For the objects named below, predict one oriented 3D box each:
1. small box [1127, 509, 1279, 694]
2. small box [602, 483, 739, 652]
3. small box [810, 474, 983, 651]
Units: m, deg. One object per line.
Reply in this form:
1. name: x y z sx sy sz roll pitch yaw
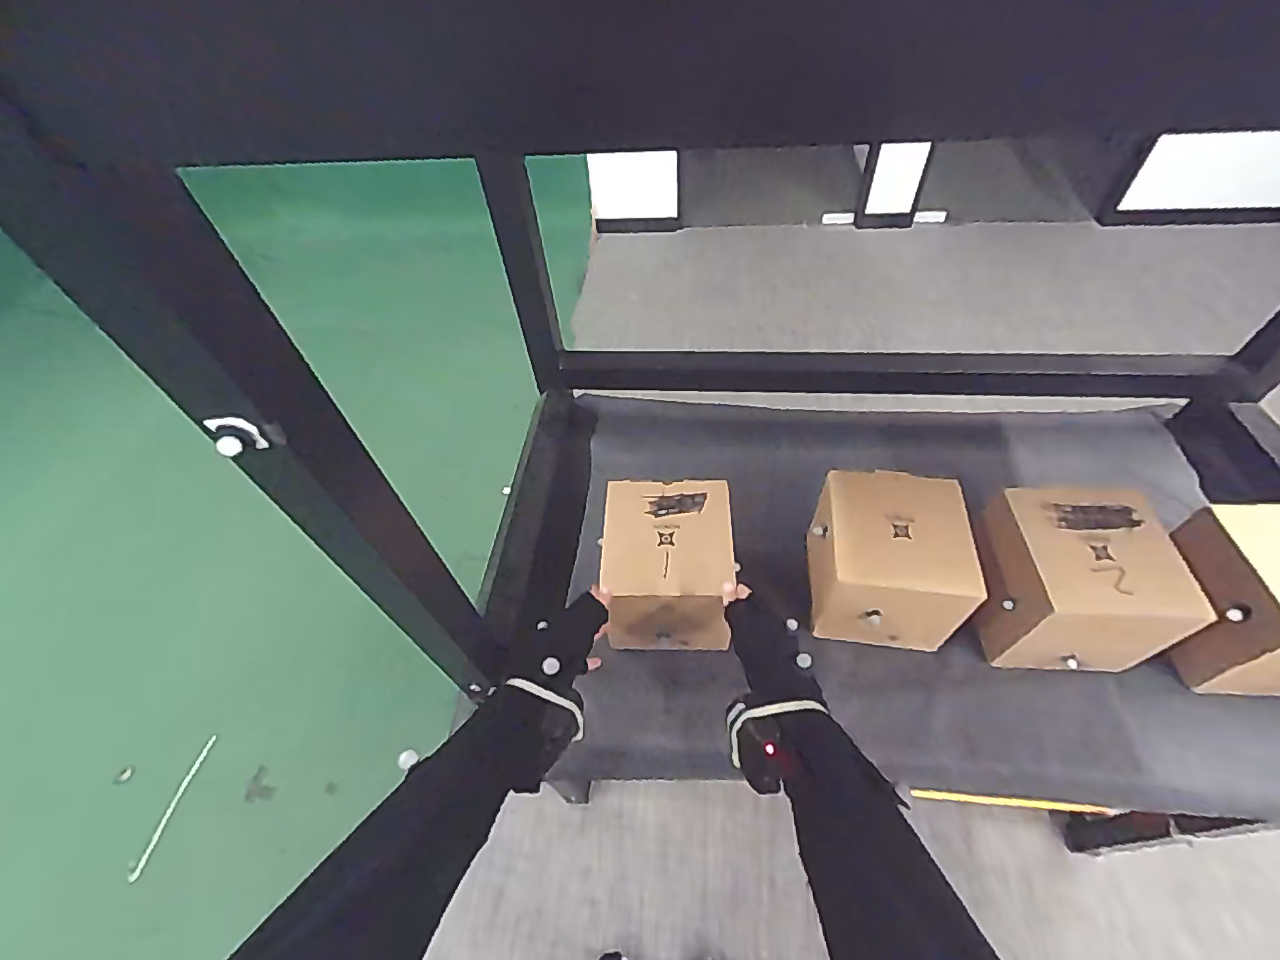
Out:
1. small box: 0.772 0.155 0.665 0.168 0.176 0.179 1 51 5
2. small box: 0.043 0.122 0.752 0.168 0.176 0.179 -1 52 4
3. small box: 0.331 0.115 0.738 0.168 0.176 0.179 5 51 9
